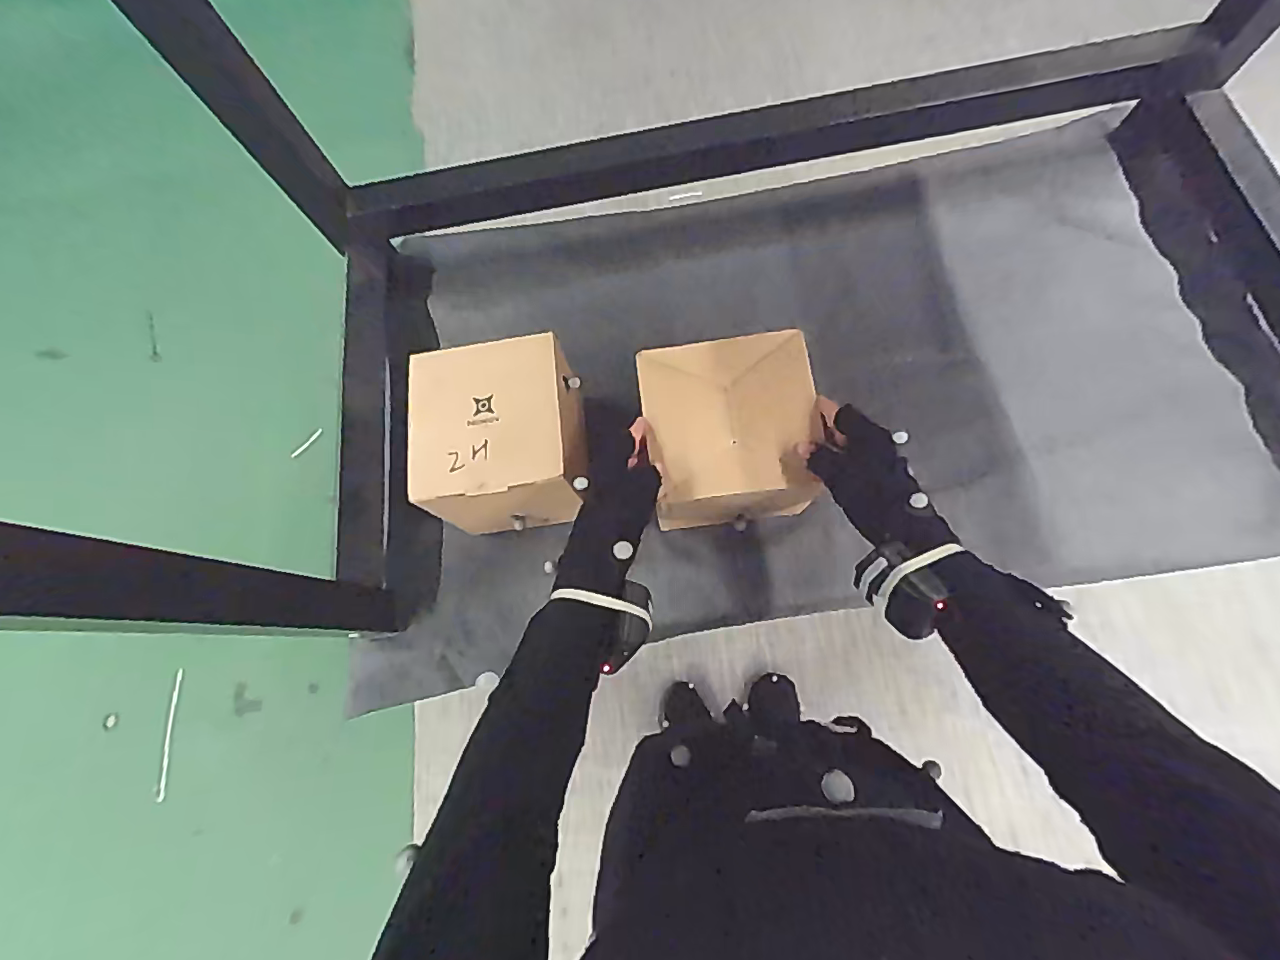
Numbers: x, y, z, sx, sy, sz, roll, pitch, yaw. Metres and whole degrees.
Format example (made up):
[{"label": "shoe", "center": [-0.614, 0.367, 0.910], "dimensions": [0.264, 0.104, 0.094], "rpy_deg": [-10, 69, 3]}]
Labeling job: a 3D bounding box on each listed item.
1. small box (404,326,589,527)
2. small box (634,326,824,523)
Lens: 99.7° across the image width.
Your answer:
[{"label": "small box", "center": [-0.161, -0.054, 0.649], "dimensions": [0.168, 0.176, 0.179], "rpy_deg": [-8, 71, 4]}, {"label": "small box", "center": [0.091, -0.056, 0.618], "dimensions": [0.179, 0.176, 0.168], "rpy_deg": [-7, 74, 4]}]
